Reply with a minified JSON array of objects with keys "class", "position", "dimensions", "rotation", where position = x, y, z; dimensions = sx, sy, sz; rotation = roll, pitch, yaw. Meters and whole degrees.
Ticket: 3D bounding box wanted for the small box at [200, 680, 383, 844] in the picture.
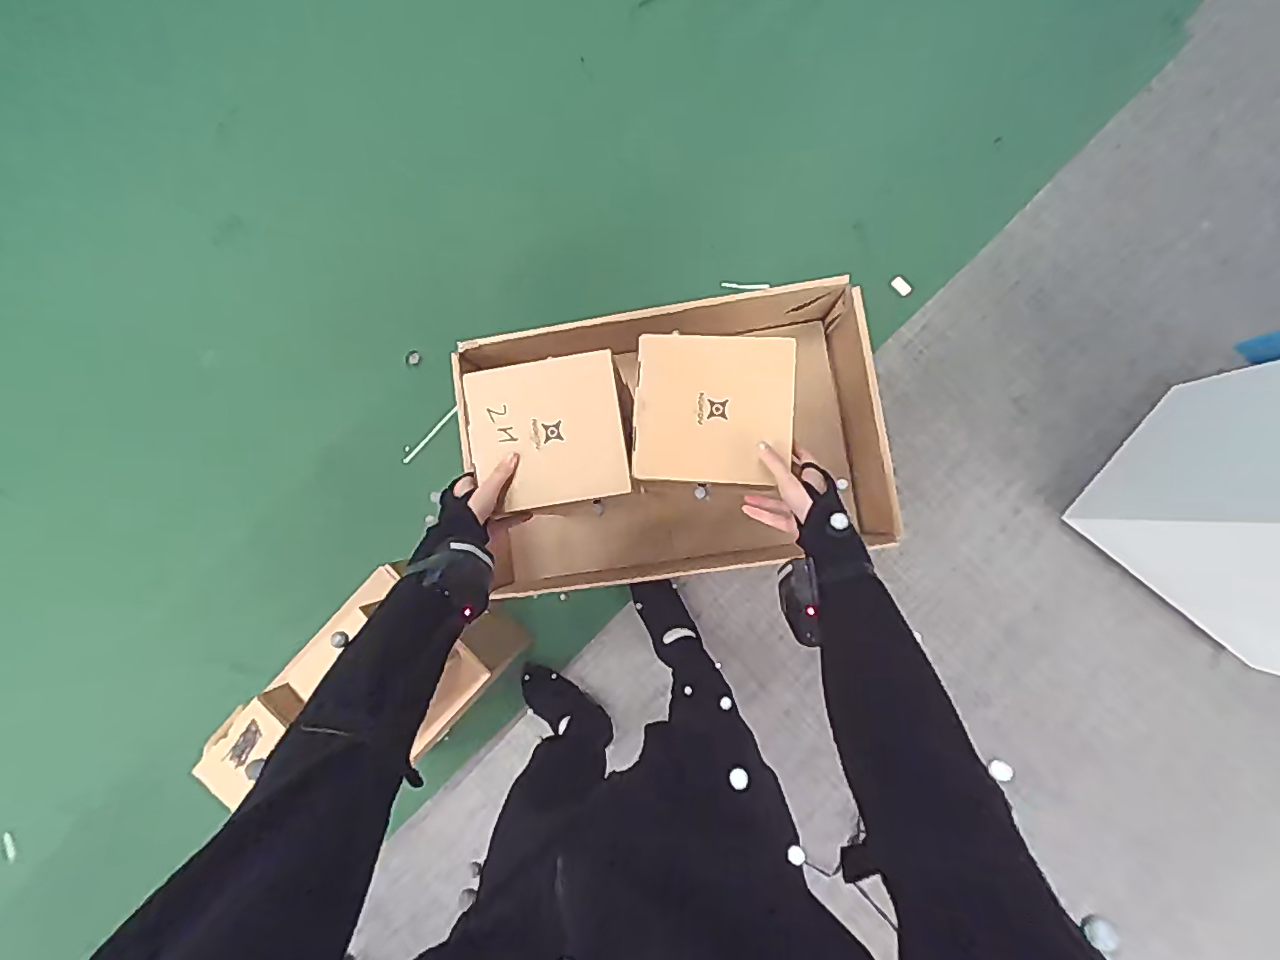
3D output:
[{"class":"small box","position":[-0.612,0.486,0.970],"dimensions":[0.179,0.176,0.168],"rotation":[41,90,6]}]
